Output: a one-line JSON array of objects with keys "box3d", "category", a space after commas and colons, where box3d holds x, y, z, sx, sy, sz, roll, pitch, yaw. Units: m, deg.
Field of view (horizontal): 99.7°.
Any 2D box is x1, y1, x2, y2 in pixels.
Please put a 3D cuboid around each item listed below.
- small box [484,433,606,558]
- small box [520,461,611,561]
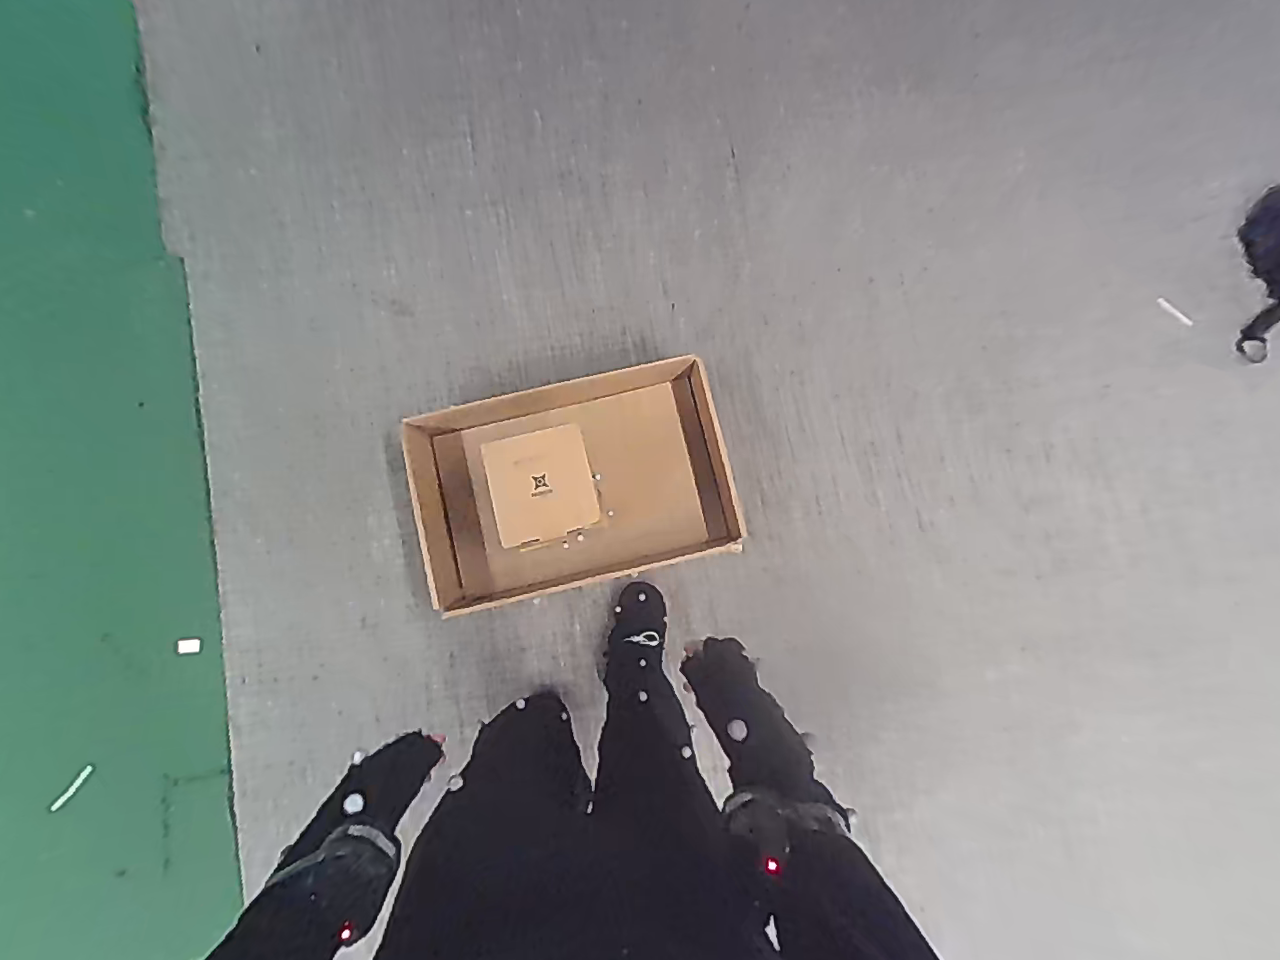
[{"box3d": [-0.158, 0.033, 0.949, 0.168, 0.176, 0.179, -13, 82, -4], "category": "small box"}, {"box3d": [-0.160, 0.062, 1.108, 0.179, 0.176, 0.168, -15, 83, -1], "category": "small box"}]
